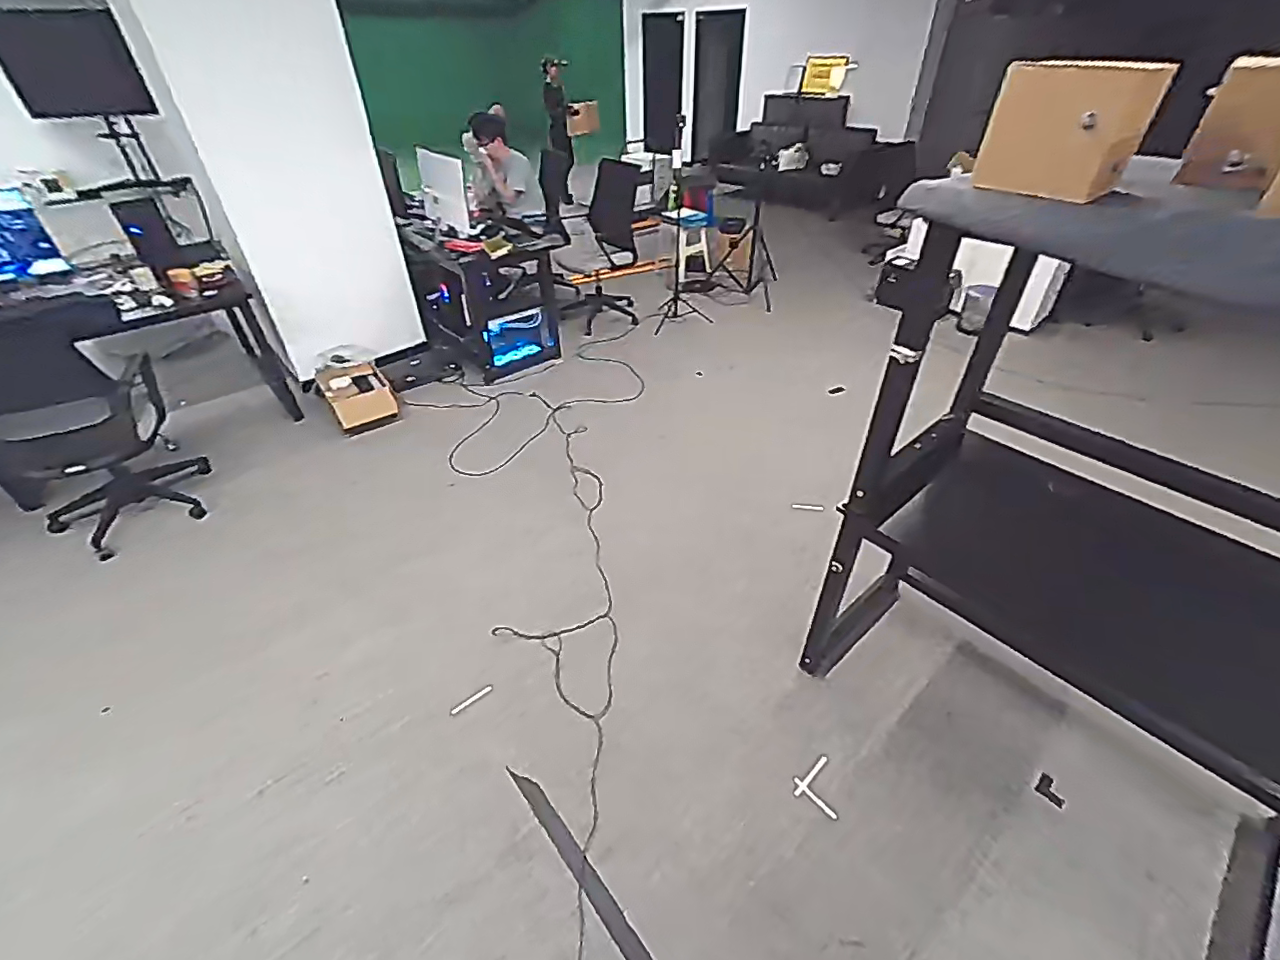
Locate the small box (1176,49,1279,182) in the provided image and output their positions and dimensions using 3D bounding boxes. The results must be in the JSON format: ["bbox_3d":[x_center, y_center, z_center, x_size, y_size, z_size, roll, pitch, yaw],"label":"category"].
[{"bbox_3d":[1.038,-0.603,0.891,0.168,0.176,0.179,28,47,33],"label":"small box"}]
